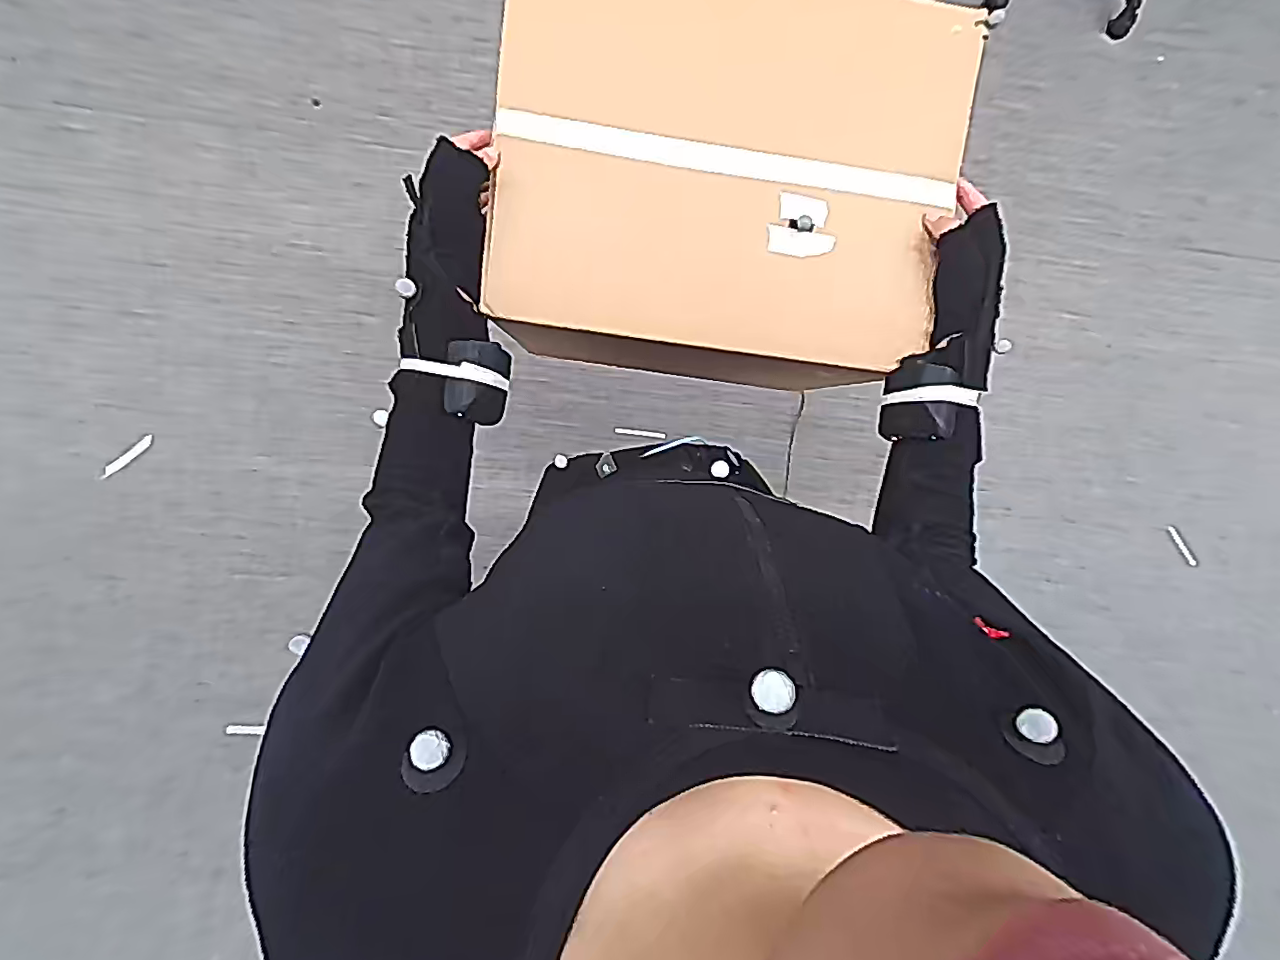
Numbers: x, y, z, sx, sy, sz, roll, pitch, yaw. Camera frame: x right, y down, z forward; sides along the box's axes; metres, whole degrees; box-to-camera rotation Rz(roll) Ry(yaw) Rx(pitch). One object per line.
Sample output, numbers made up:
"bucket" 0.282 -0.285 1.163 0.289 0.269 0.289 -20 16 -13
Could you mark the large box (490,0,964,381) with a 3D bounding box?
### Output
"large box" 0.064 -0.300 0.628 0.408 0.320 0.320 7 98 -6
